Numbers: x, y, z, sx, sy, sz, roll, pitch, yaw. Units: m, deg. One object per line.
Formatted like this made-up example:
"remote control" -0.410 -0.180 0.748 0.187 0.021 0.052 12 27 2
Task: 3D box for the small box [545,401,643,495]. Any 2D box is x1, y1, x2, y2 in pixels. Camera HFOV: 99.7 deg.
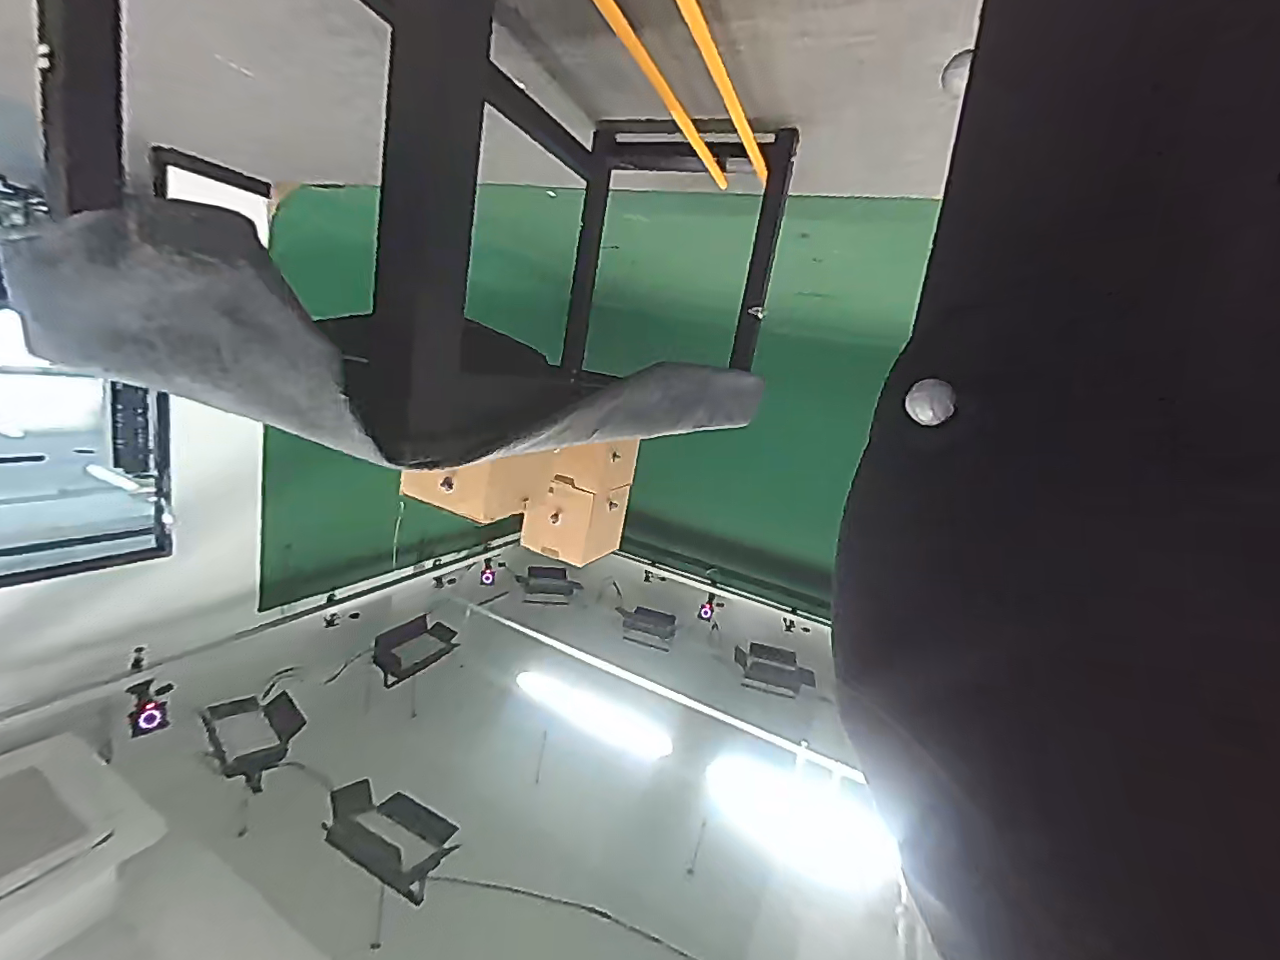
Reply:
"small box" -0.110 -0.076 1.182 0.168 0.176 0.179 16 -167 21

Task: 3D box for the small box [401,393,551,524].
"small box" -0.260 -0.044 0.882 0.179 0.176 0.168 16 -168 23

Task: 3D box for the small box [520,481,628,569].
"small box" -0.146 0.080 1.218 0.168 0.176 0.179 16 -168 22
